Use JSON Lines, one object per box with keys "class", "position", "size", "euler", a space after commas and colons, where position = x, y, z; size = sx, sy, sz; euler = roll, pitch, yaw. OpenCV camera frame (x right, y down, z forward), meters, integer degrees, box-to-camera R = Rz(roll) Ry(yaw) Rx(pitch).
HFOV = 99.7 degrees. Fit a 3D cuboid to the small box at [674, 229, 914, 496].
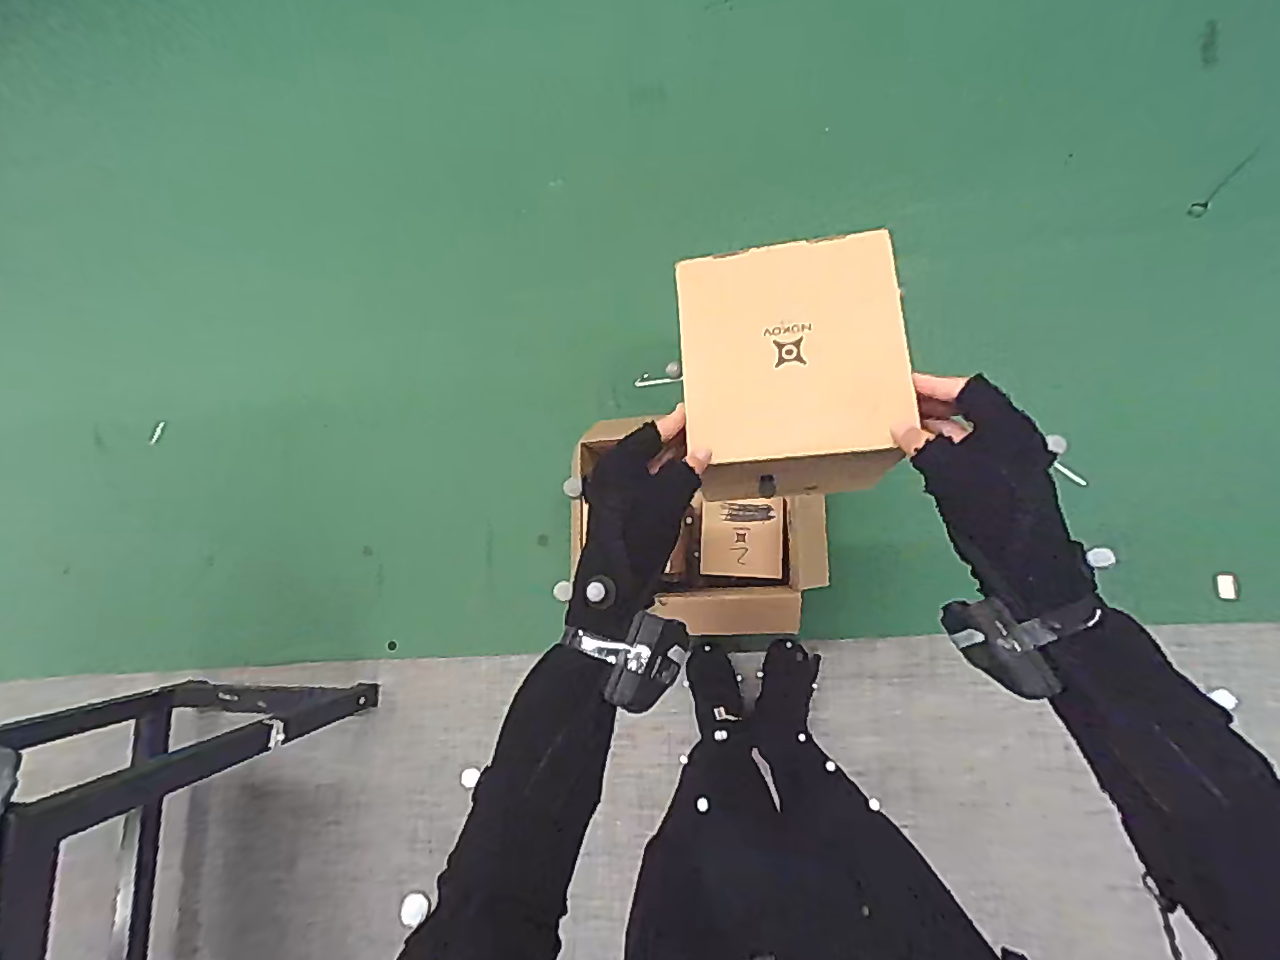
{"class": "small box", "position": [0.127, -0.084, 0.485], "size": [0.168, 0.176, 0.179], "euler": [-5, 76, 11]}
